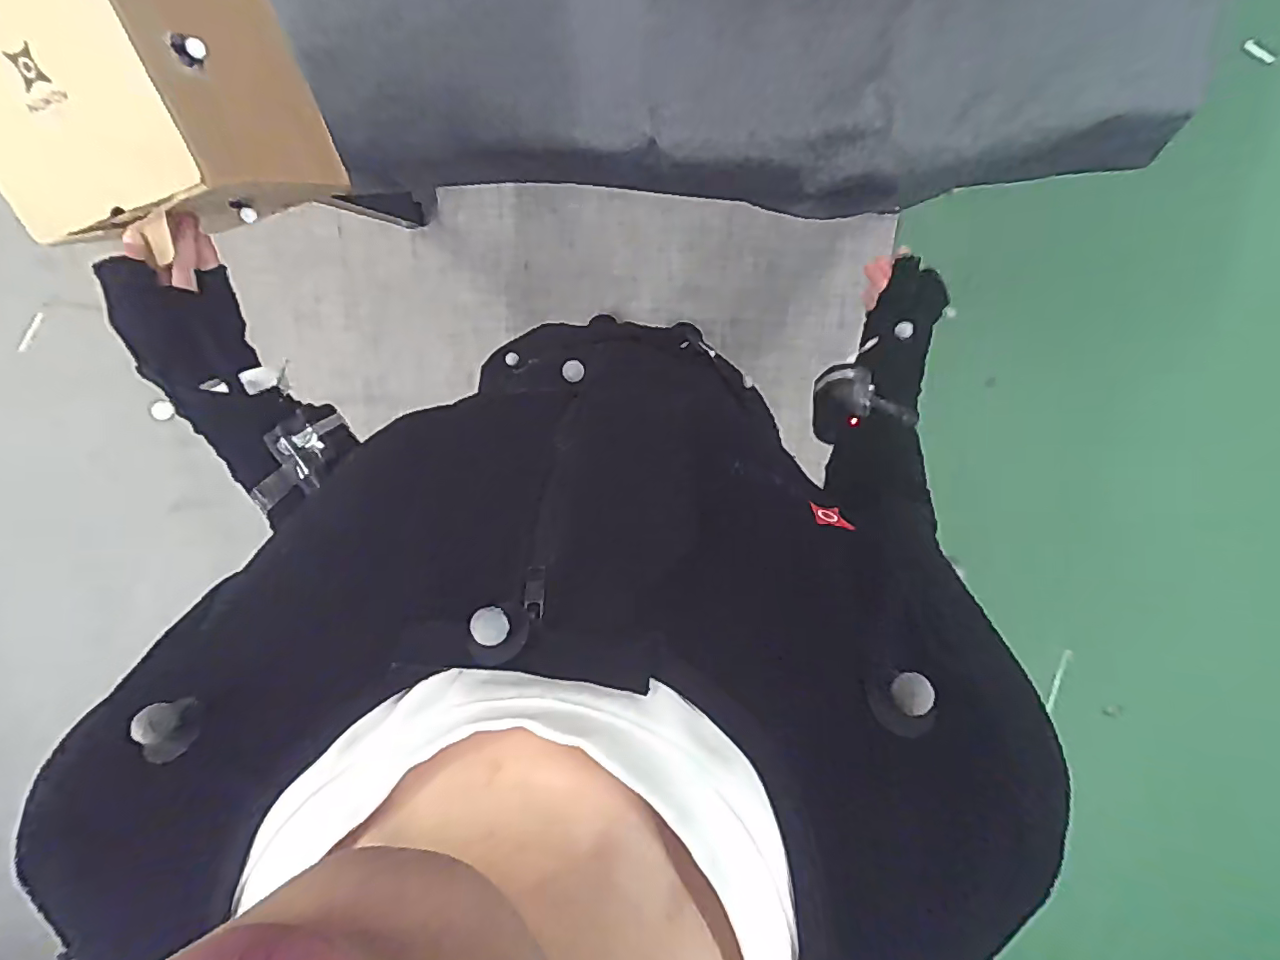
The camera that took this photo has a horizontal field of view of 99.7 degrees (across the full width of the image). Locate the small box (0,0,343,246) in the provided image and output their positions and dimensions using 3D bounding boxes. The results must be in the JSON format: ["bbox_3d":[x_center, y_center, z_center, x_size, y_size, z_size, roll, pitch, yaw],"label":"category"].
[{"bbox_3d":[-0.375,-0.298,0.415,0.168,0.176,0.179,-10,115,13],"label":"small box"}]
